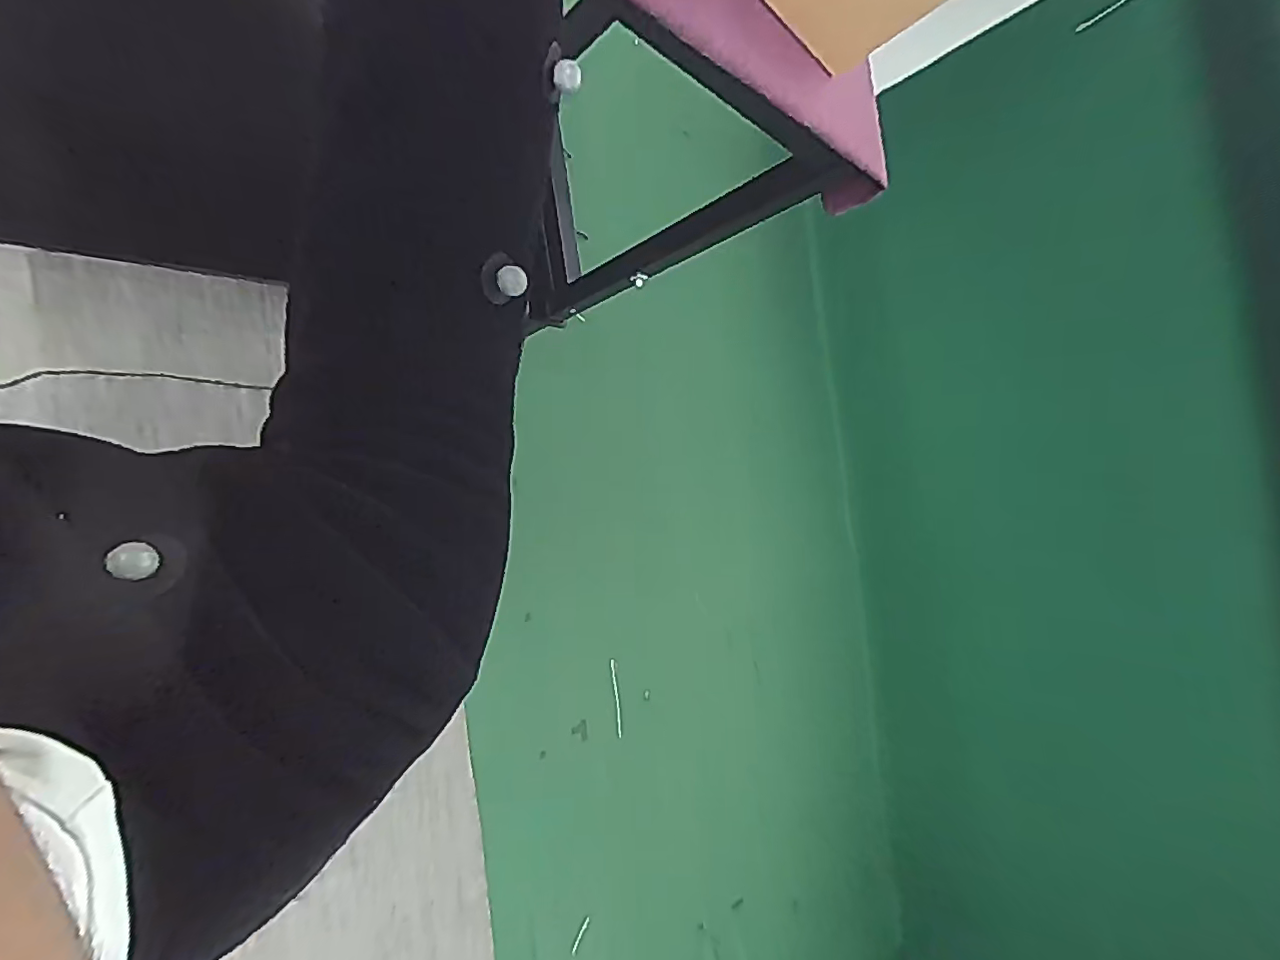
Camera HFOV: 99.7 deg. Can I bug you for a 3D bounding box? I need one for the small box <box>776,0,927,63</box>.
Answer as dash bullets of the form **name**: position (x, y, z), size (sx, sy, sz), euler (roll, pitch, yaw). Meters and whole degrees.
- **small box**: position (0.229, -0.588, 0.557), size (0.179, 0.176, 0.168), euler (-6, 87, -47)
